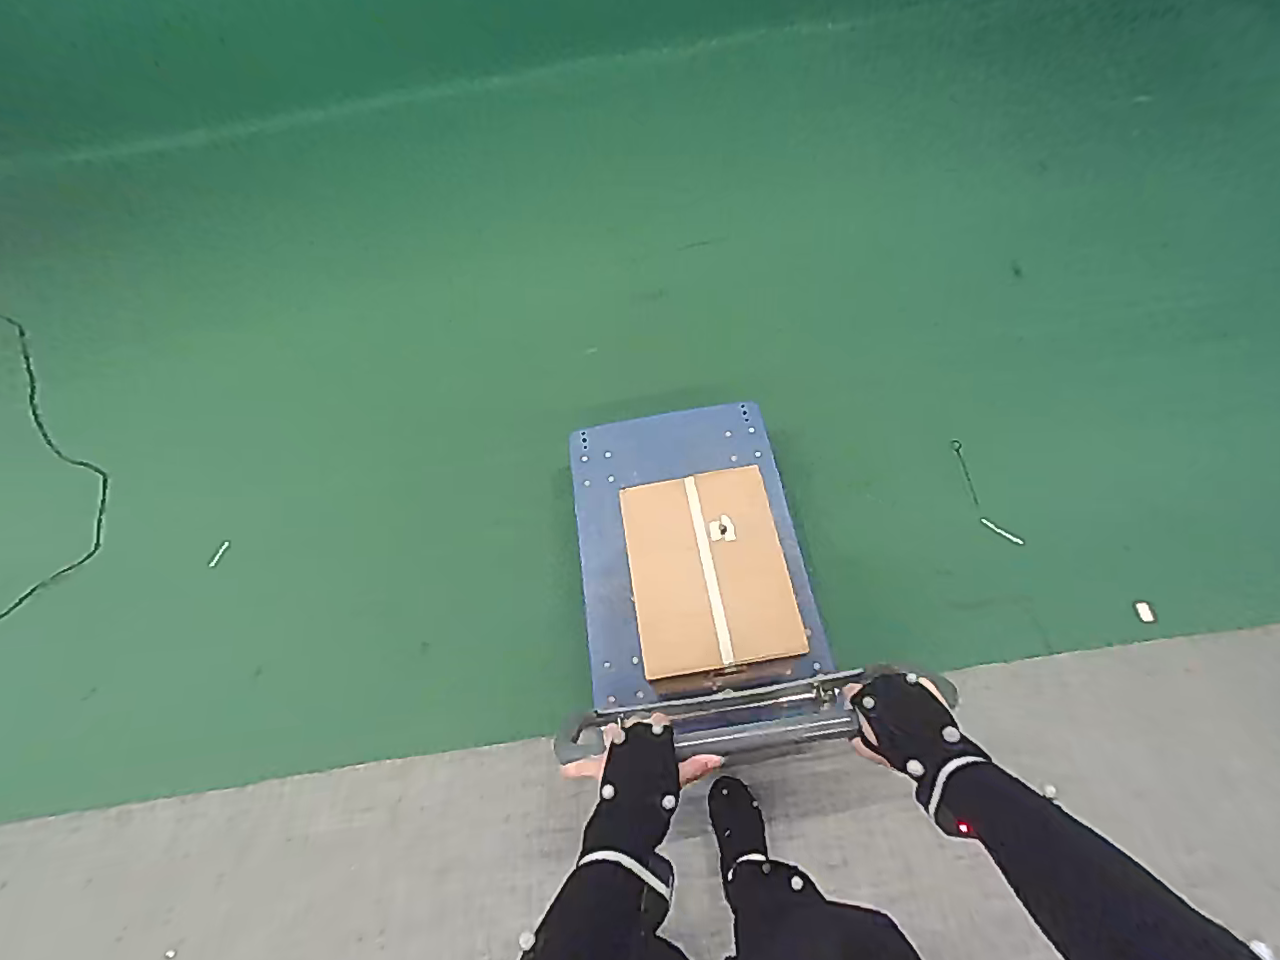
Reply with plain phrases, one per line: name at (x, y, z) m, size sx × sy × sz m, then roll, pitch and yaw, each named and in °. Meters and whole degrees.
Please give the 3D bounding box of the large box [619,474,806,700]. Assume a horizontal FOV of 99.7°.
large box at (0.150, 0.255, 1.238) m, size 0.320 × 0.320 × 0.408 m, roll -10°, pitch 62°, yaw 1°
